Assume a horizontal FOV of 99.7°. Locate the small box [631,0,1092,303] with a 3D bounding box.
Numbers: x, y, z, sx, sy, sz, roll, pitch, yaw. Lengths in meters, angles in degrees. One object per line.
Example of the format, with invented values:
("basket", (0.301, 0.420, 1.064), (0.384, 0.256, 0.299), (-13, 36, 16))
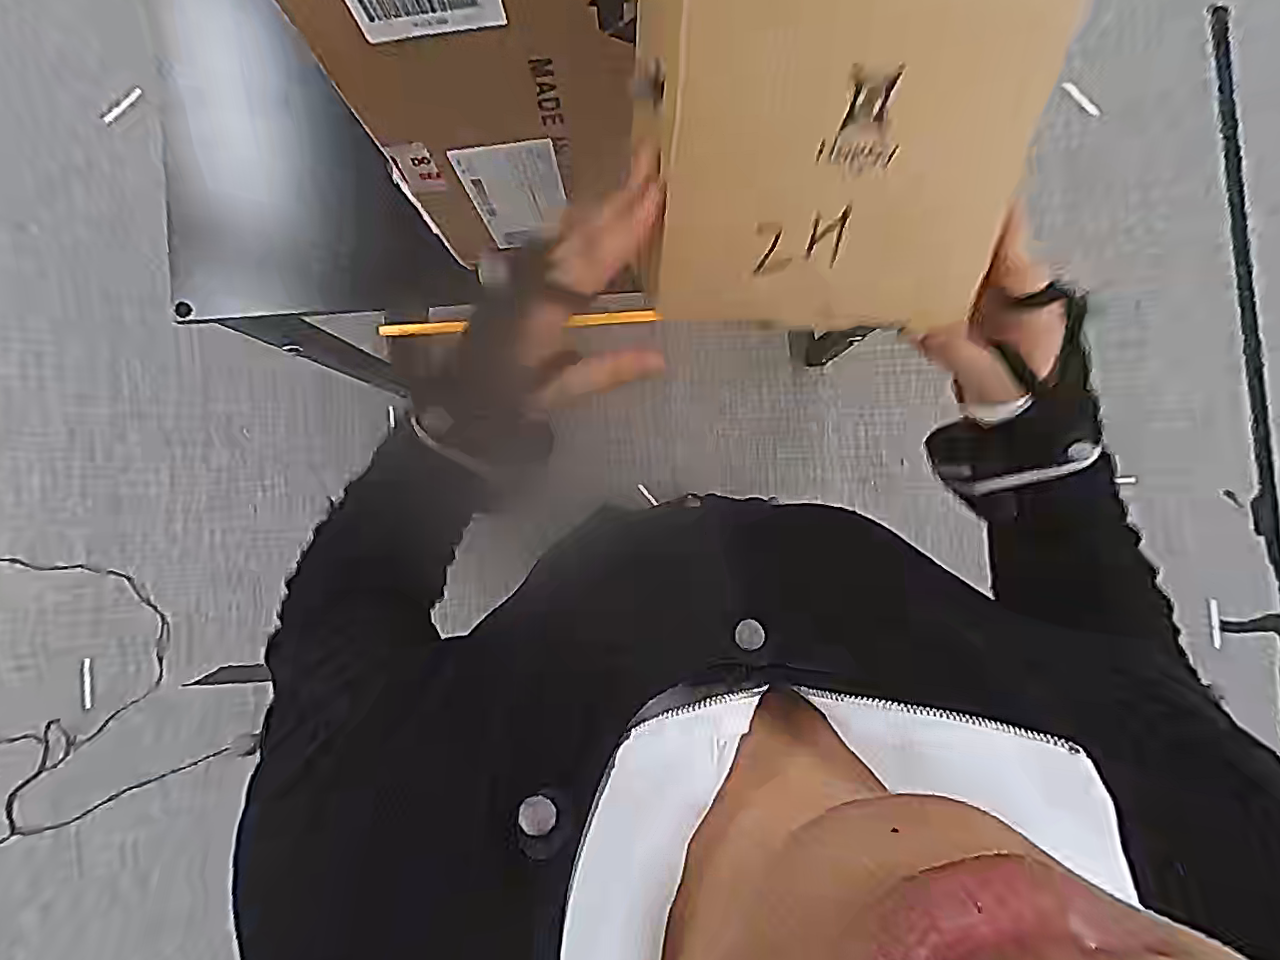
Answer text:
("small box", (0.085, -0.204, 0.287), (0.168, 0.176, 0.179), (-1, 123, -6))
